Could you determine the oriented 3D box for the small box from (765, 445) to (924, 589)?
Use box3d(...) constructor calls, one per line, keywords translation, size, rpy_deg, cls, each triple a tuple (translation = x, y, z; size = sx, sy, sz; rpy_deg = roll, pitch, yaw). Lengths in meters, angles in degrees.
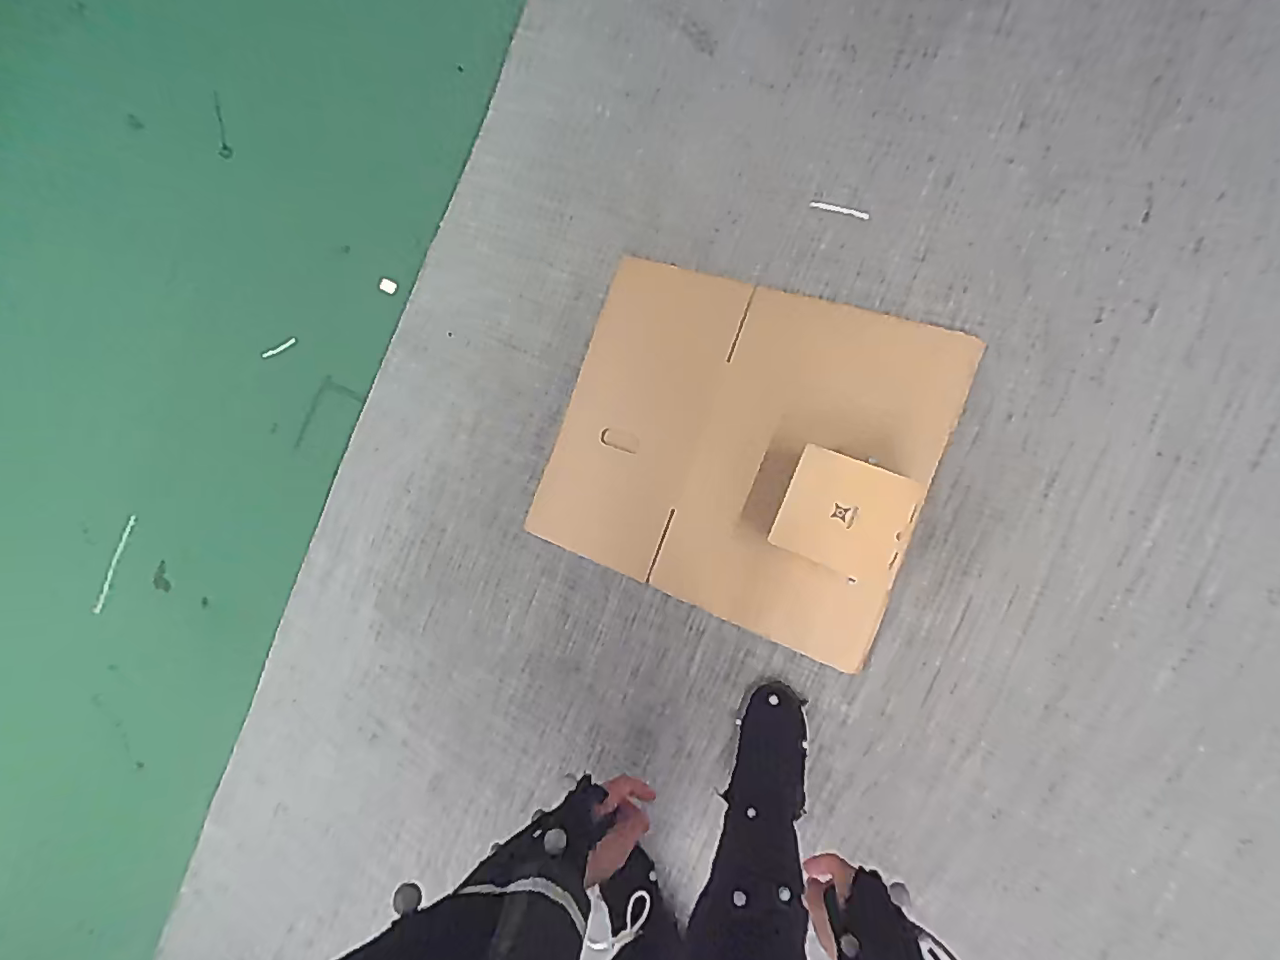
box3d(translation=(0.319, 0.060, 0.866), size=(0.179, 0.176, 0.168), rpy_deg=(23, 92, 18), cls="small box")
